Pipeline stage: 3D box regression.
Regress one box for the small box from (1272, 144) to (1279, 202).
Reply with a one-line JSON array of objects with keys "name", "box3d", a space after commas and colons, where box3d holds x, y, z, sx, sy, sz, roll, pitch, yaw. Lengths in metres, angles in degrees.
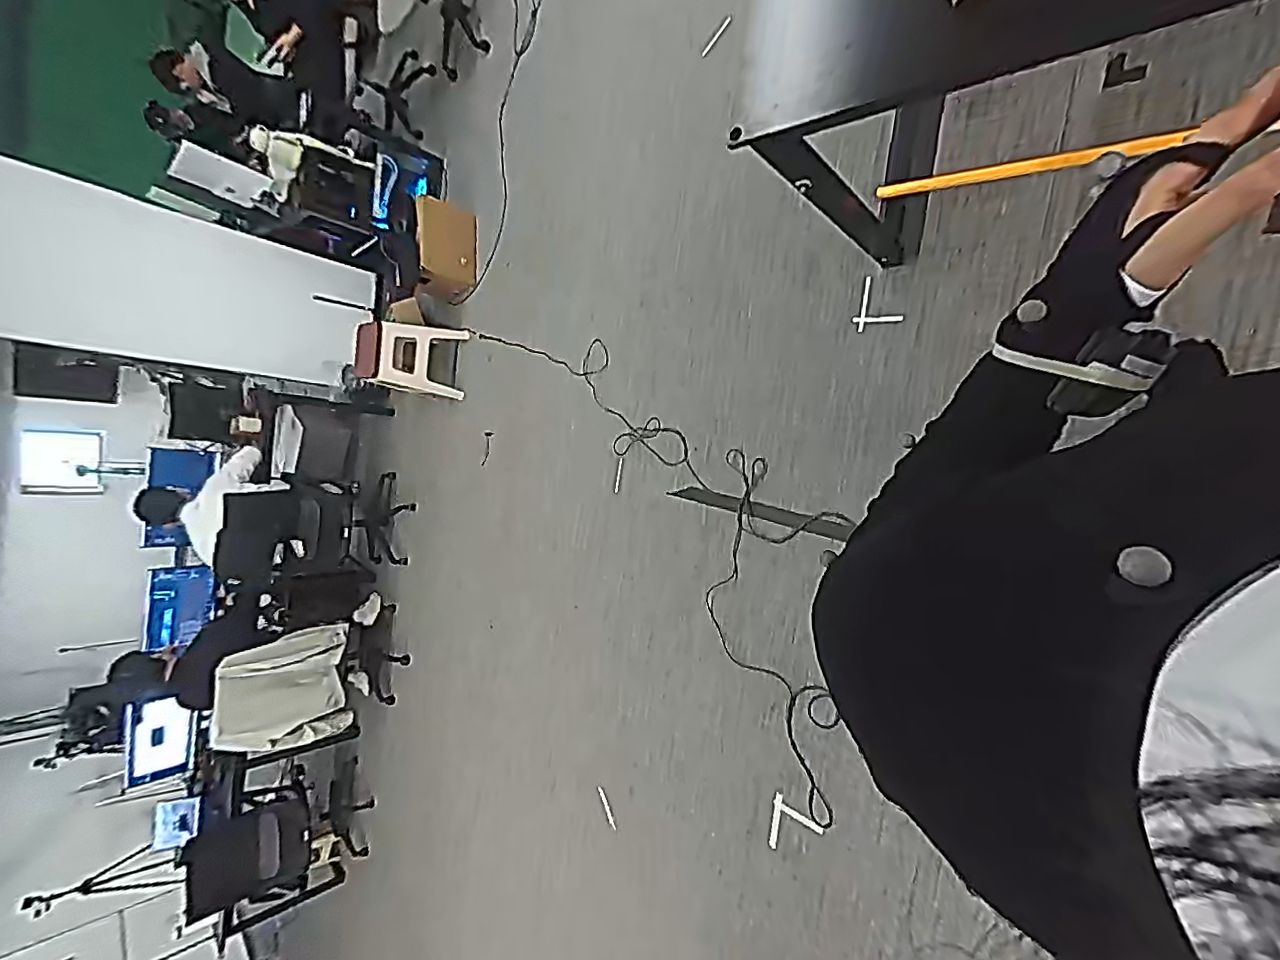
[{"name": "small box", "box3d": [0.435, -0.242, 0.245, 0.168, 0.176, 0.179, 13, 105, 43]}]
